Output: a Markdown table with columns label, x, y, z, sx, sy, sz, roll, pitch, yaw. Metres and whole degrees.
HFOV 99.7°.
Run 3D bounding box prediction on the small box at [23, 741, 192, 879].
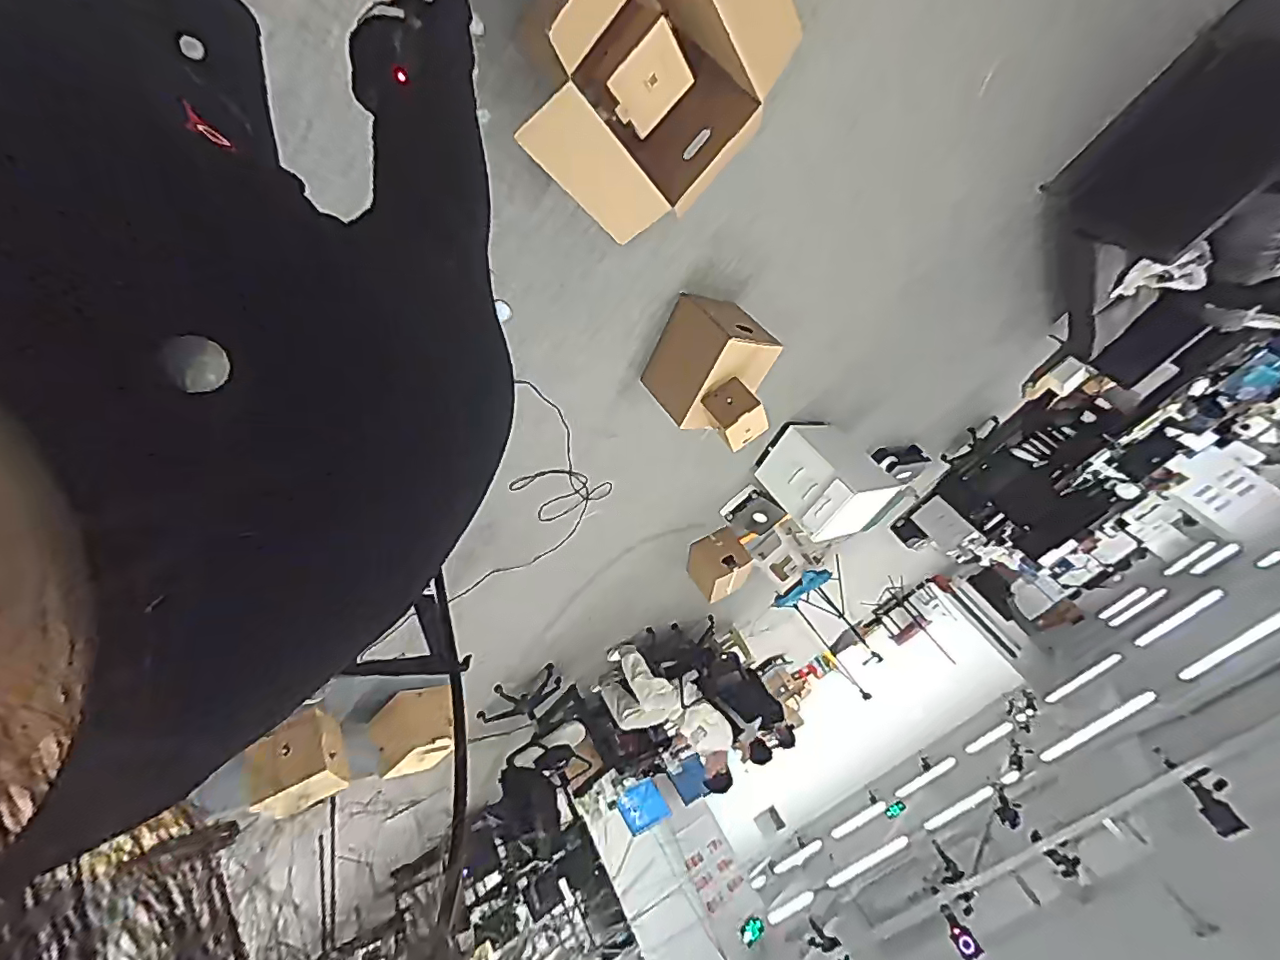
| label | x | y | z | sx | sy | sz | roll | pitch | yaw |
| --- | --- | --- | --- | --- | --- | --- | --- | --- | --- |
| small box | -1.050 | 0.642 | 1.075 | 0.168 | 0.176 | 0.179 | -32 | 151 | -4 |

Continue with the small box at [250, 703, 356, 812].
| label | x | y | z | sx | sy | sz | roll | pitch | yaw |
| --- | --- | --- | --- | --- | --- | --- | --- | --- | --- |
| small box | -0.837 | 0.683 | 1.342 | 0.168 | 0.176 | 0.179 | -21 | 147 | -21 |

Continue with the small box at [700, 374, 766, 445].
| label | x | y | z | sx | sy | sz | roll | pitch | yaw |
| --- | --- | --- | --- | --- | --- | --- | --- | --- | --- |
| small box | 0.348 | -0.271 | 2.031 | 0.168 | 0.176 | 0.179 | -36 | 147 | 2 |
